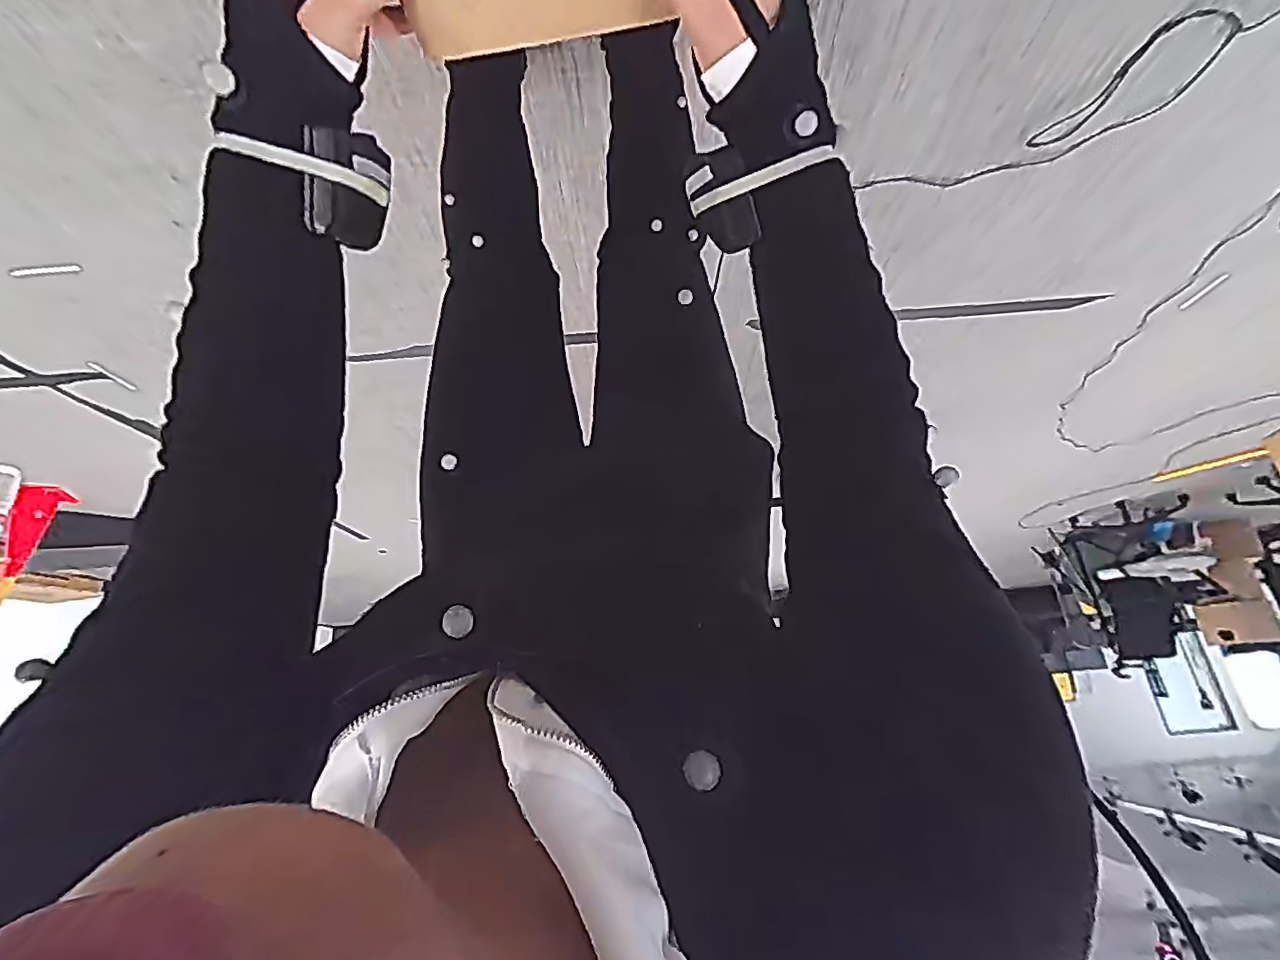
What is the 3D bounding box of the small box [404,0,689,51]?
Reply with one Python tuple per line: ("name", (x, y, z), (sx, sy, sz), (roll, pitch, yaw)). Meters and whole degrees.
("small box", (-0.058, -0.380, 0.289), (0.179, 0.176, 0.168), (3, 159, 14))
